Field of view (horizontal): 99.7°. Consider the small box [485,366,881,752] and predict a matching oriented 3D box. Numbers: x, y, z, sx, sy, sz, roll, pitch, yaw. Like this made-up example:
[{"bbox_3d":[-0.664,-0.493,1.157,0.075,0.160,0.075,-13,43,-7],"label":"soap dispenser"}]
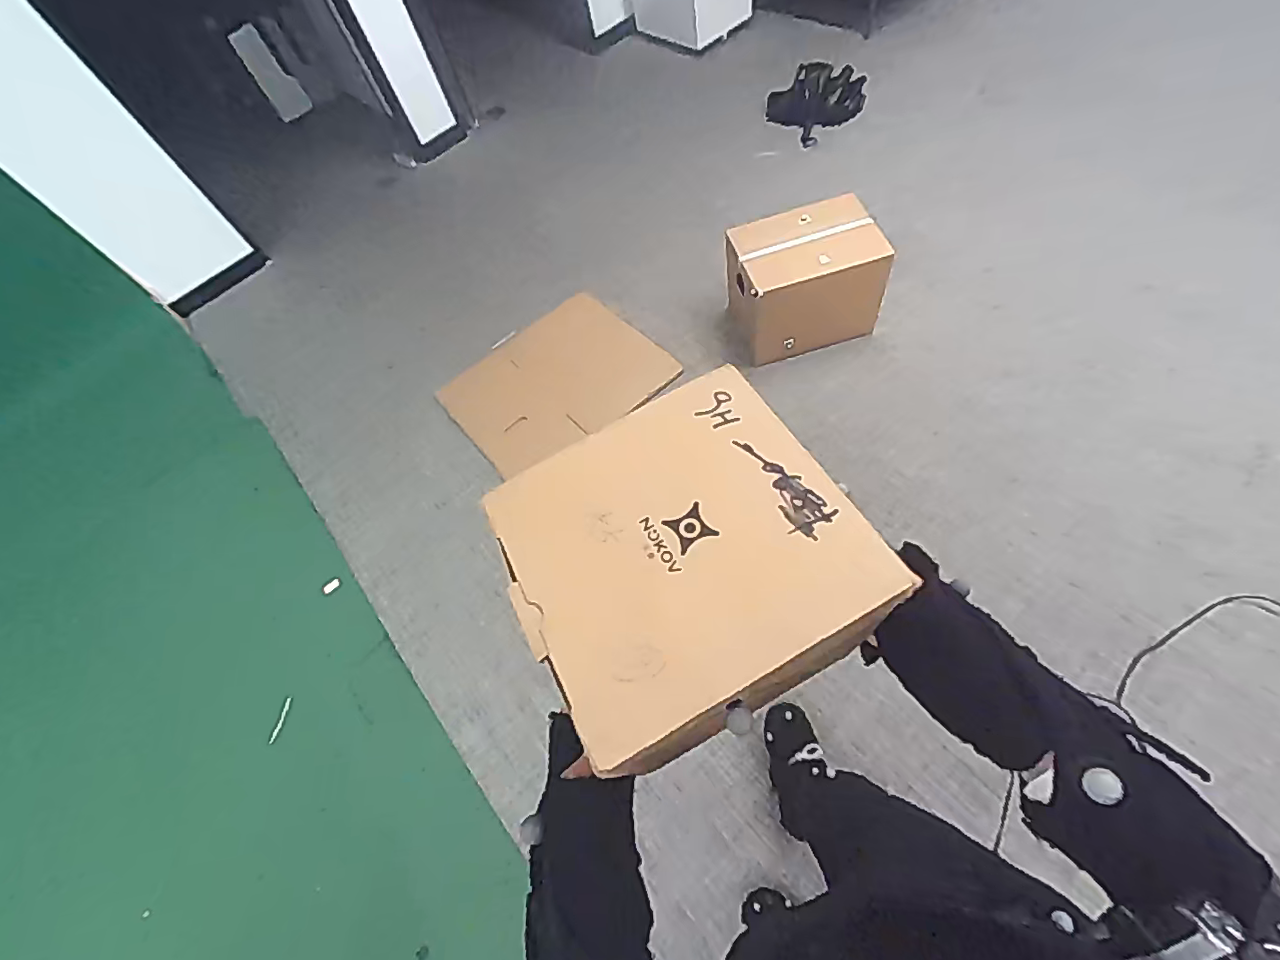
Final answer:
[{"bbox_3d":[0.029,0.063,0.374,0.179,0.176,0.168,-31,59,-8],"label":"small box"}]
